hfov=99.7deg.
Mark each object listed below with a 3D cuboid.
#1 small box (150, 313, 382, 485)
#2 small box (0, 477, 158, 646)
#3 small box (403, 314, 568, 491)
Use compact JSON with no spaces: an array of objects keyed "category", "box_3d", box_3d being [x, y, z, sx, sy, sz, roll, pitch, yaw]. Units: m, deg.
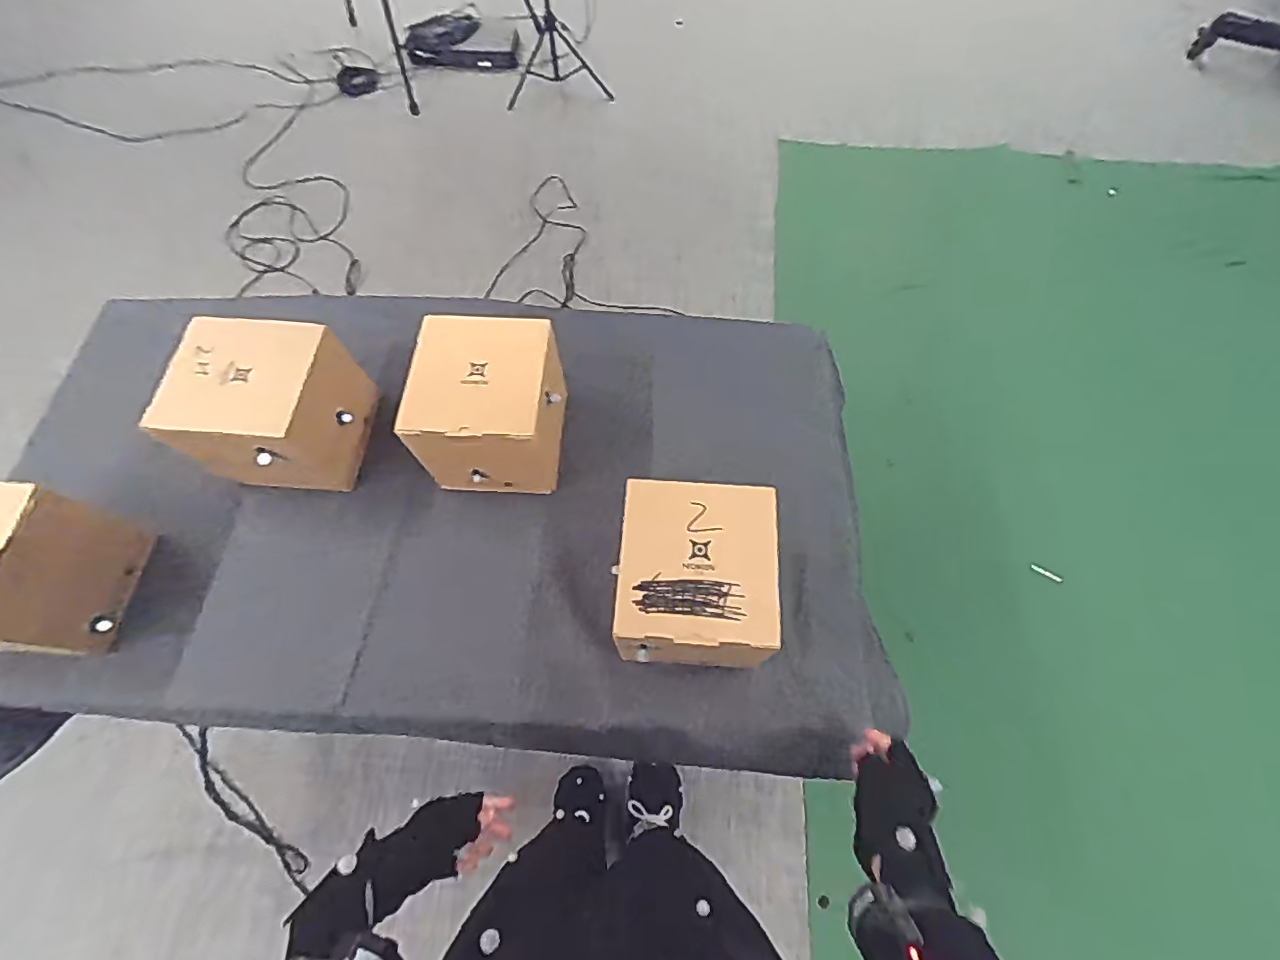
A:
[{"category":"small box","box_3d":[-0.483,-0.101,0.736,0.179,0.176,0.168,4,67,2]},{"category":"small box","box_3d":[-0.748,0.102,0.645,0.179,0.176,0.168,3,65,1]},{"category":"small box","box_3d":[-0.194,-0.100,0.740,0.168,0.176,0.179,3,67,1]}]
